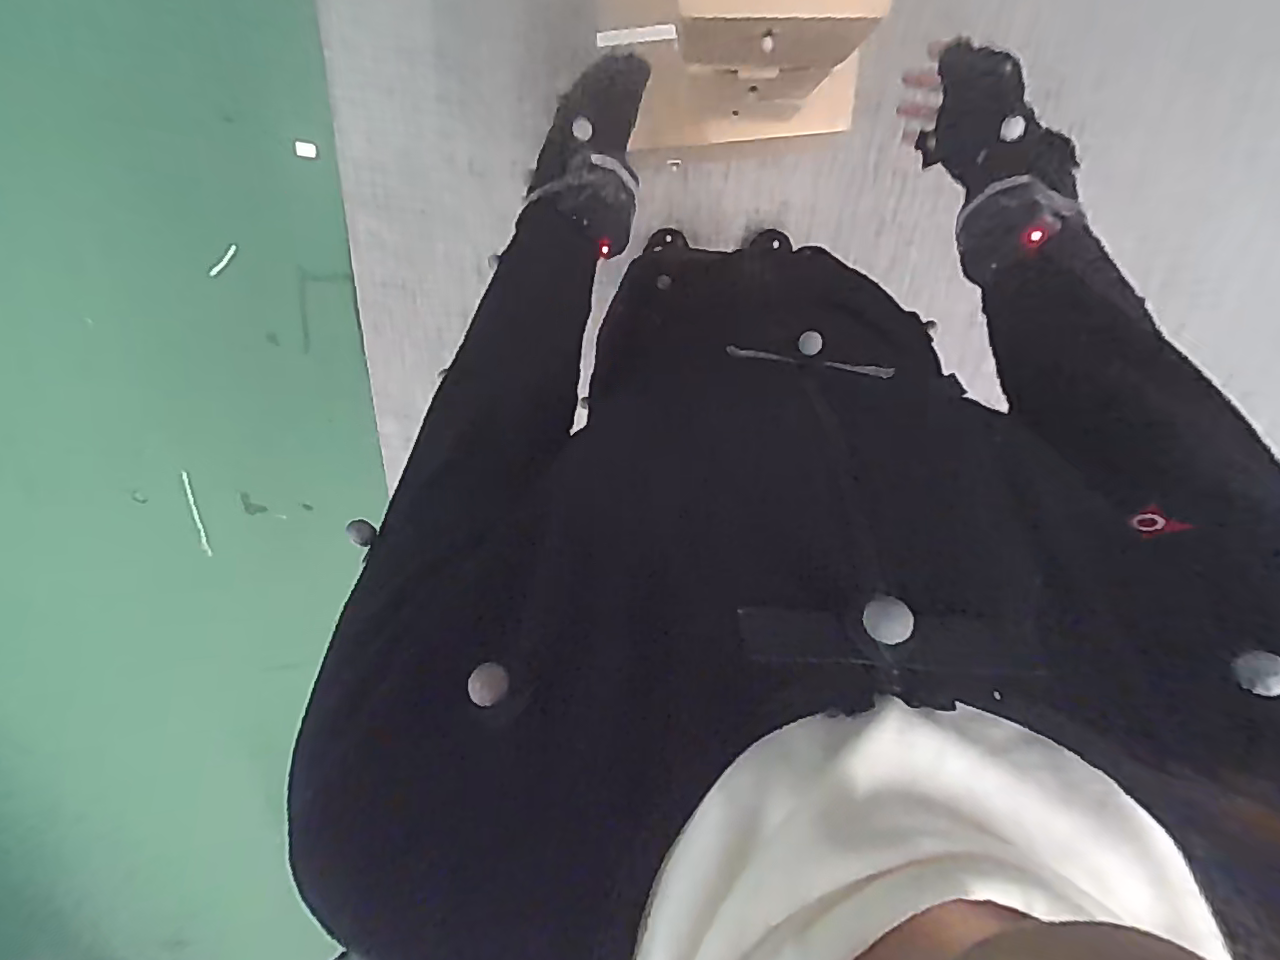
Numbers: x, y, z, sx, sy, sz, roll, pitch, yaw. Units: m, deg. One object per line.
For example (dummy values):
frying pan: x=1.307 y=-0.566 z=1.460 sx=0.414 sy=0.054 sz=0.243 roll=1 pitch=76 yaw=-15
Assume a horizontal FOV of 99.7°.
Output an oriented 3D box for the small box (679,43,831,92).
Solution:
small box: x=0.135 y=-0.561 z=0.620 sx=0.168 sy=0.176 sz=0.179 roll=3 pitch=117 yaw=5

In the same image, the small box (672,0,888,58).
small box: x=0.122 y=-0.490 z=0.474 sx=0.179 sy=0.176 sz=0.168 roll=3 pitch=118 yaw=3

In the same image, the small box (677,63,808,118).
small box: x=0.148 y=-0.627 z=0.769 sx=0.179 sy=0.176 sz=0.168 roll=5 pitch=117 yaw=5
